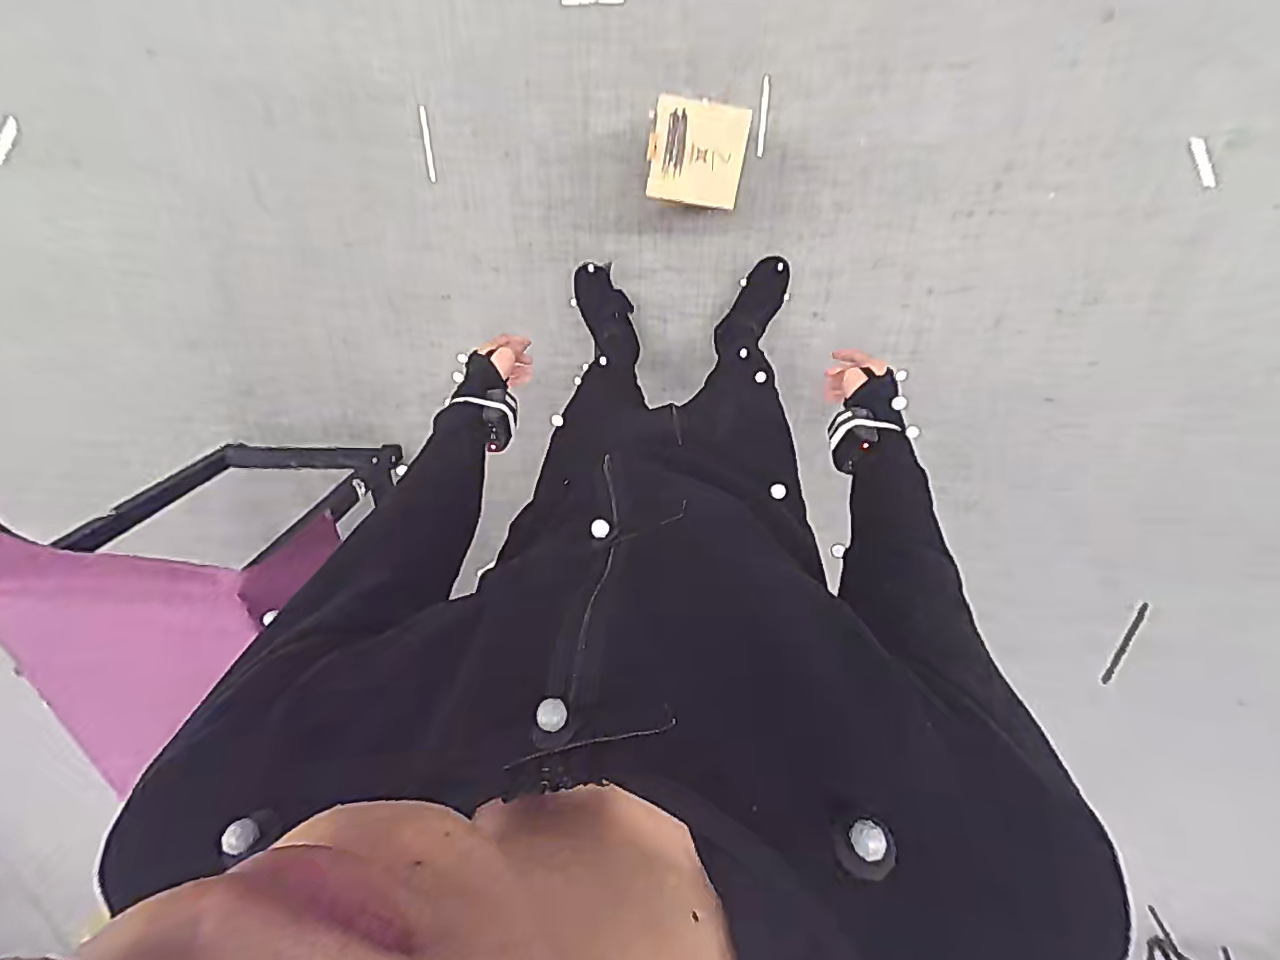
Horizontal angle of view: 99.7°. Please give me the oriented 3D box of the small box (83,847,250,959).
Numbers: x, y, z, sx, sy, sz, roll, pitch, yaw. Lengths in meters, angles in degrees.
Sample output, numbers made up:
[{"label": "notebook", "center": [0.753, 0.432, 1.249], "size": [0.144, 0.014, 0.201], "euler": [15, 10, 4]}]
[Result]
[{"label": "small box", "center": [-1.003, 0.921, 1.164], "size": [0.179, 0.176, 0.168], "euler": [-4, 119, 6]}]

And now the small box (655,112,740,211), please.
[{"label": "small box", "center": [0.126, -0.719, 1.230], "size": [0.168, 0.176, 0.179], "euler": [5, 118, 1]}]
